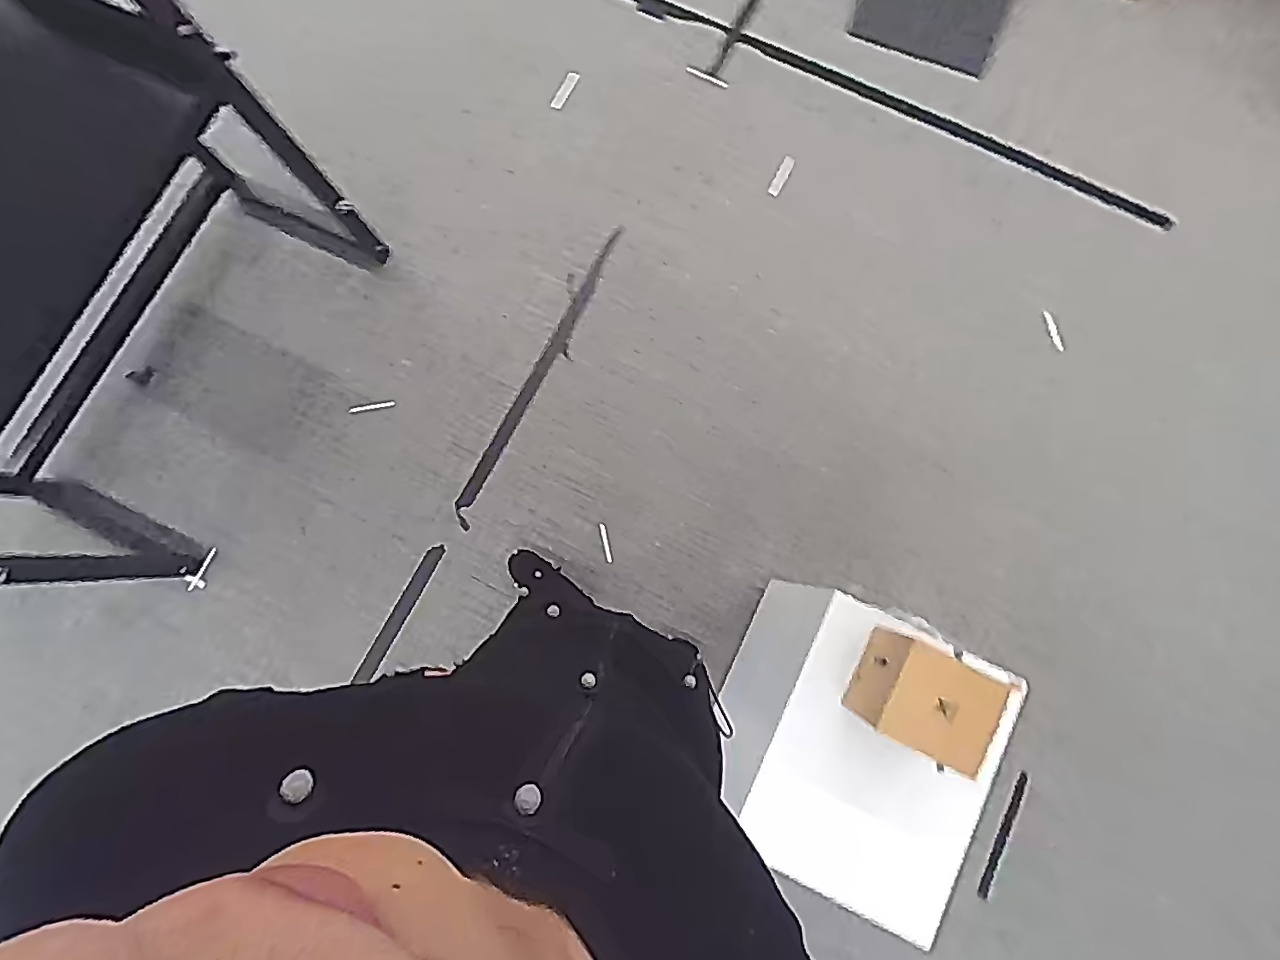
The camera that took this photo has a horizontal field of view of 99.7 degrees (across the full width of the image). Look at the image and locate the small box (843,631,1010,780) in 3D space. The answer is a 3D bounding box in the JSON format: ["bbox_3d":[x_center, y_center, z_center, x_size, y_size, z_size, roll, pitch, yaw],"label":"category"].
[{"bbox_3d":[0.489,0.380,0.952,0.179,0.176,0.168,27,84,3],"label":"small box"}]
